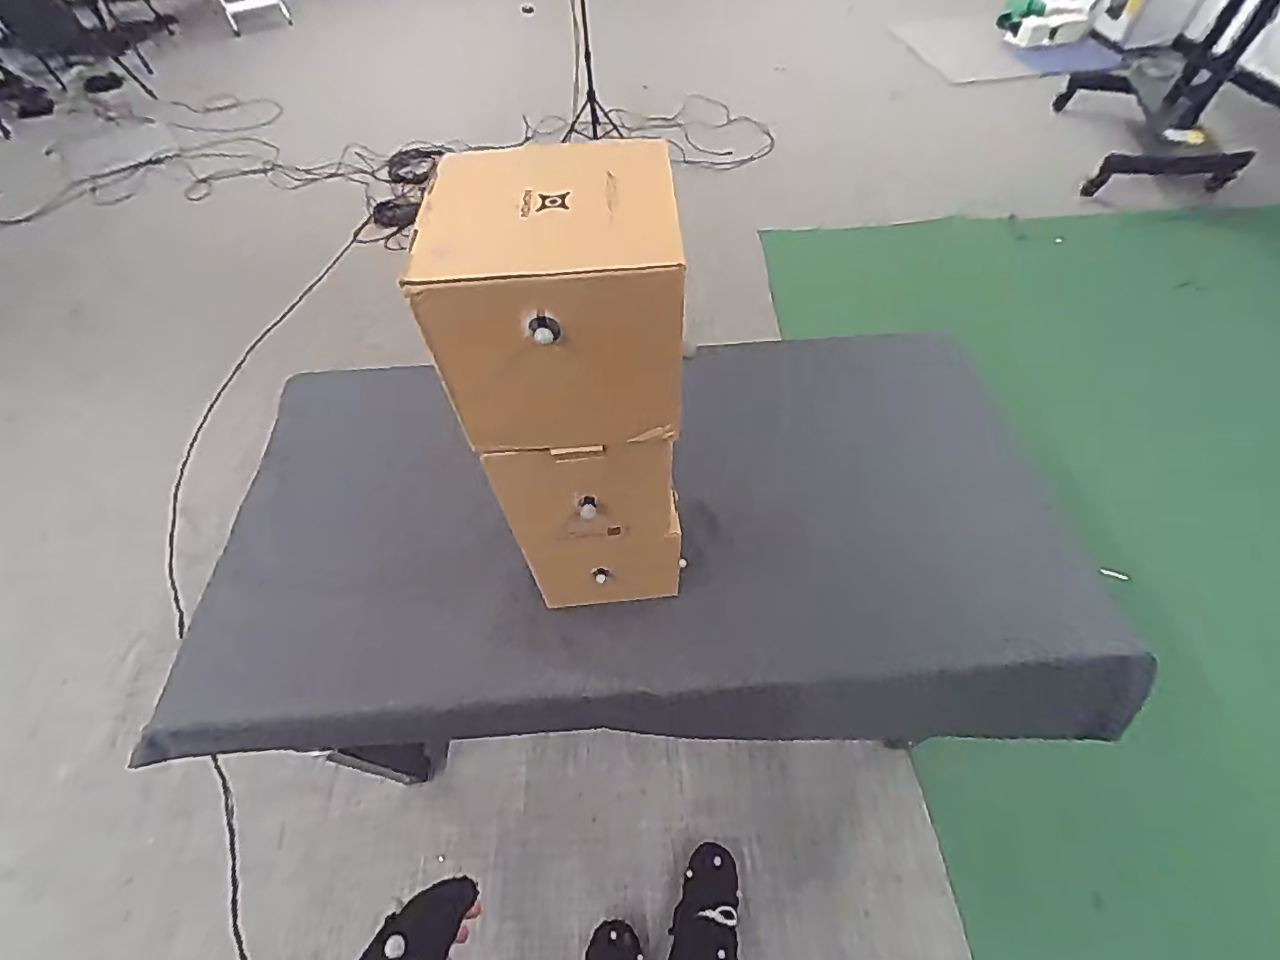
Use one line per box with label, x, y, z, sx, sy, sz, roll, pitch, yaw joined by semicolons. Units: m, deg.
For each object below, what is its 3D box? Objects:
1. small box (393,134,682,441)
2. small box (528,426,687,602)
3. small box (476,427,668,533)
small box;-0.061;-0.144;0.429;0.179;0.176;0.168;-3;56;-1
small box;-0.045;0.043;0.696;0.179;0.176;0.168;-7;55;-4
small box;-0.060;-0.055;0.566;0.168;0.176;0.179;-5;56;-1
